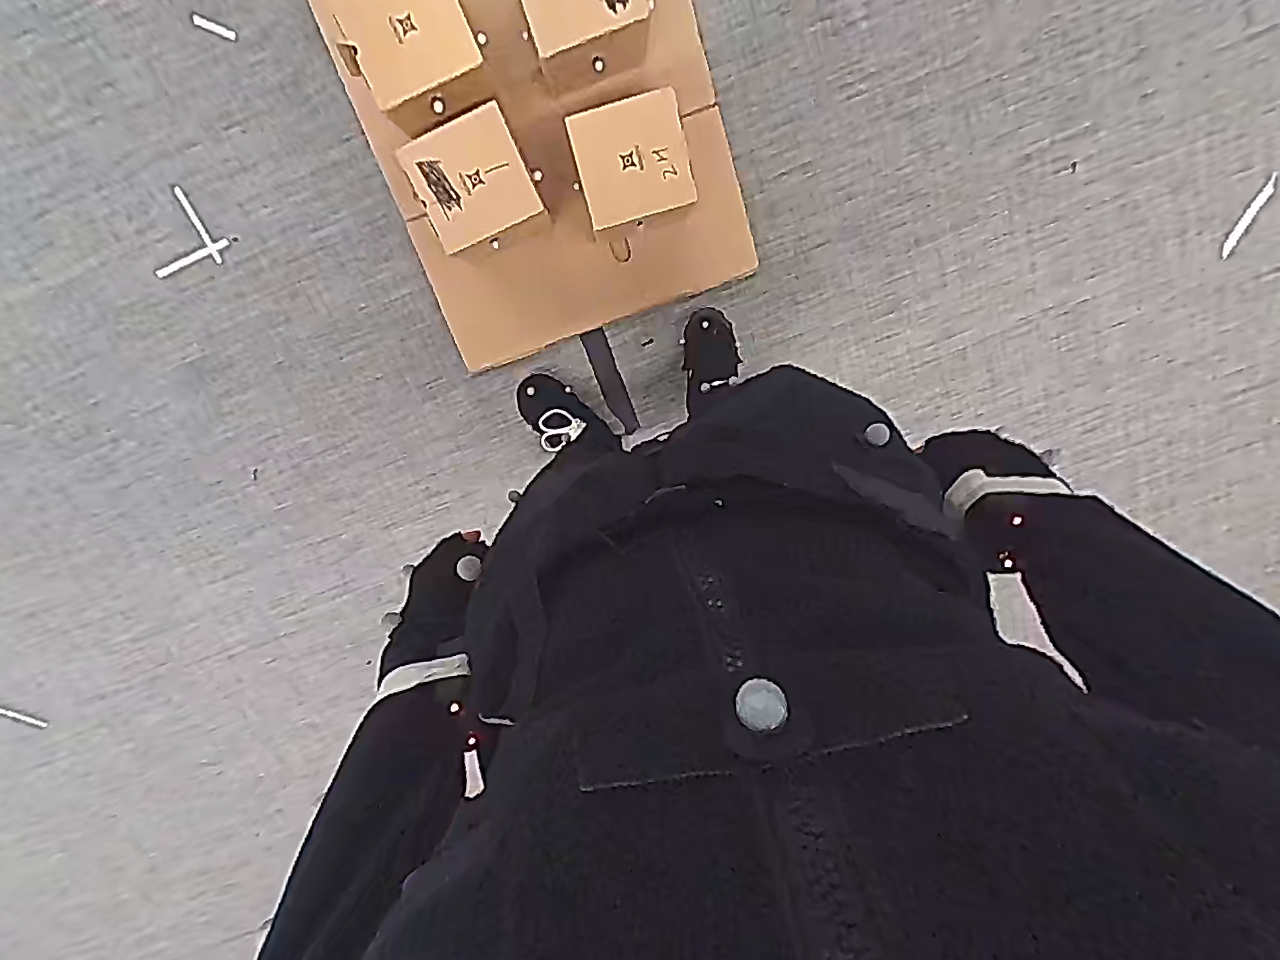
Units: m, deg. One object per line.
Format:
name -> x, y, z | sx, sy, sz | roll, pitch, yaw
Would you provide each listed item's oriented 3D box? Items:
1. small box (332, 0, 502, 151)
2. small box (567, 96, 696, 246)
small box -> -0.339, -0.668, 0.870 | 0.179, 0.176, 0.168 | -23, 106, 5
small box -> -0.013, -0.515, 0.930 | 0.179, 0.176, 0.168 | -15, 107, 2
